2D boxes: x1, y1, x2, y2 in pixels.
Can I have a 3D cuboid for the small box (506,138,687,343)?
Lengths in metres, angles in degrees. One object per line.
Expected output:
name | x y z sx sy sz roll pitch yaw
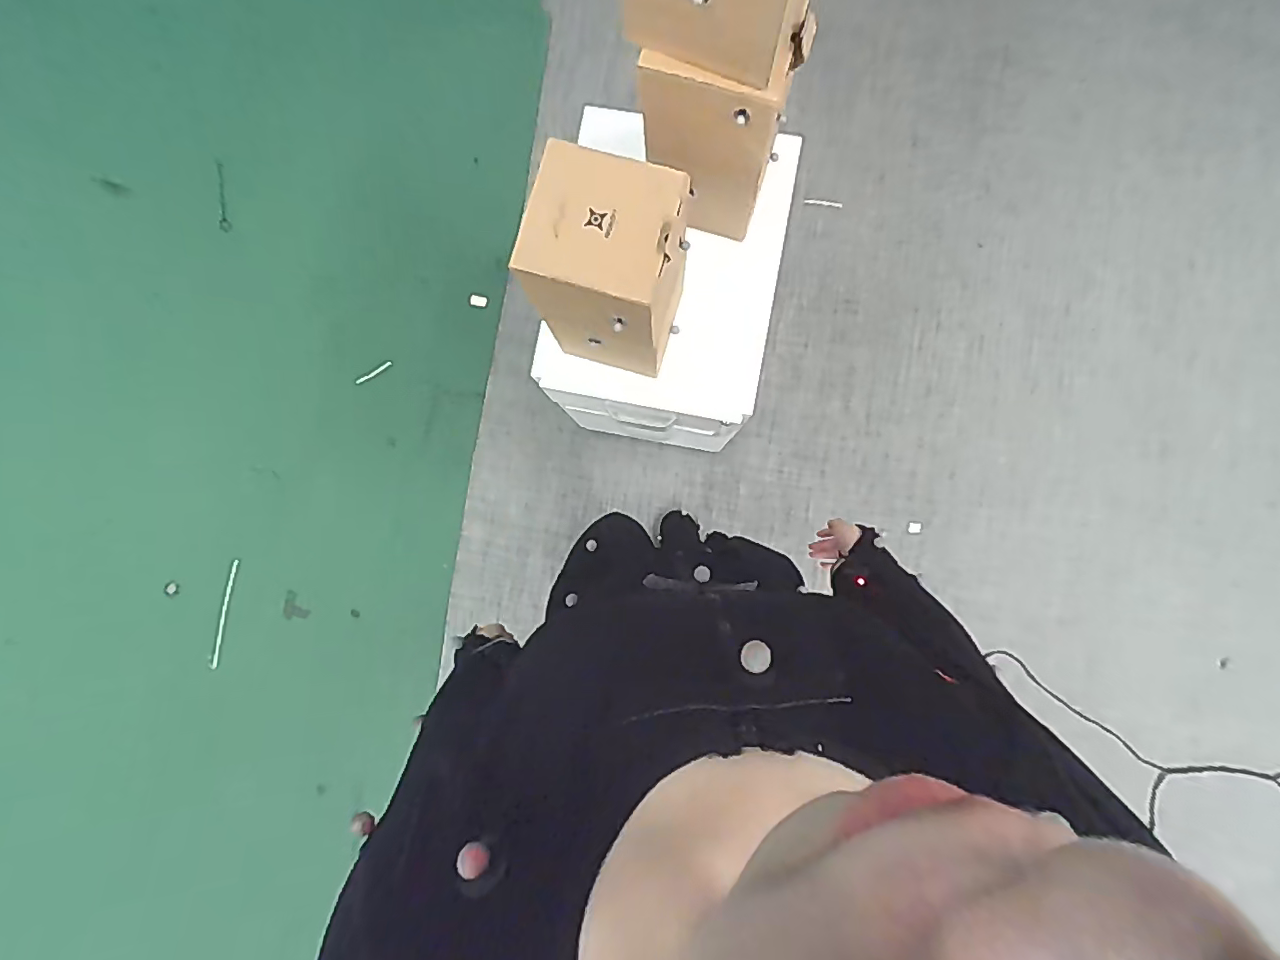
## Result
small box | -0.047 -0.294 0.704 0.179 0.176 0.168 16 85 4

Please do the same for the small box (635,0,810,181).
small box | 0.103 -0.533 0.713 0.179 0.176 0.168 17 88 3

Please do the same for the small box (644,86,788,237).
small box | 0.116 -0.524 0.875 0.179 0.176 0.168 18 88 4

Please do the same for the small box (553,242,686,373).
small box | -0.036 -0.285 0.866 0.179 0.176 0.168 17 87 2
